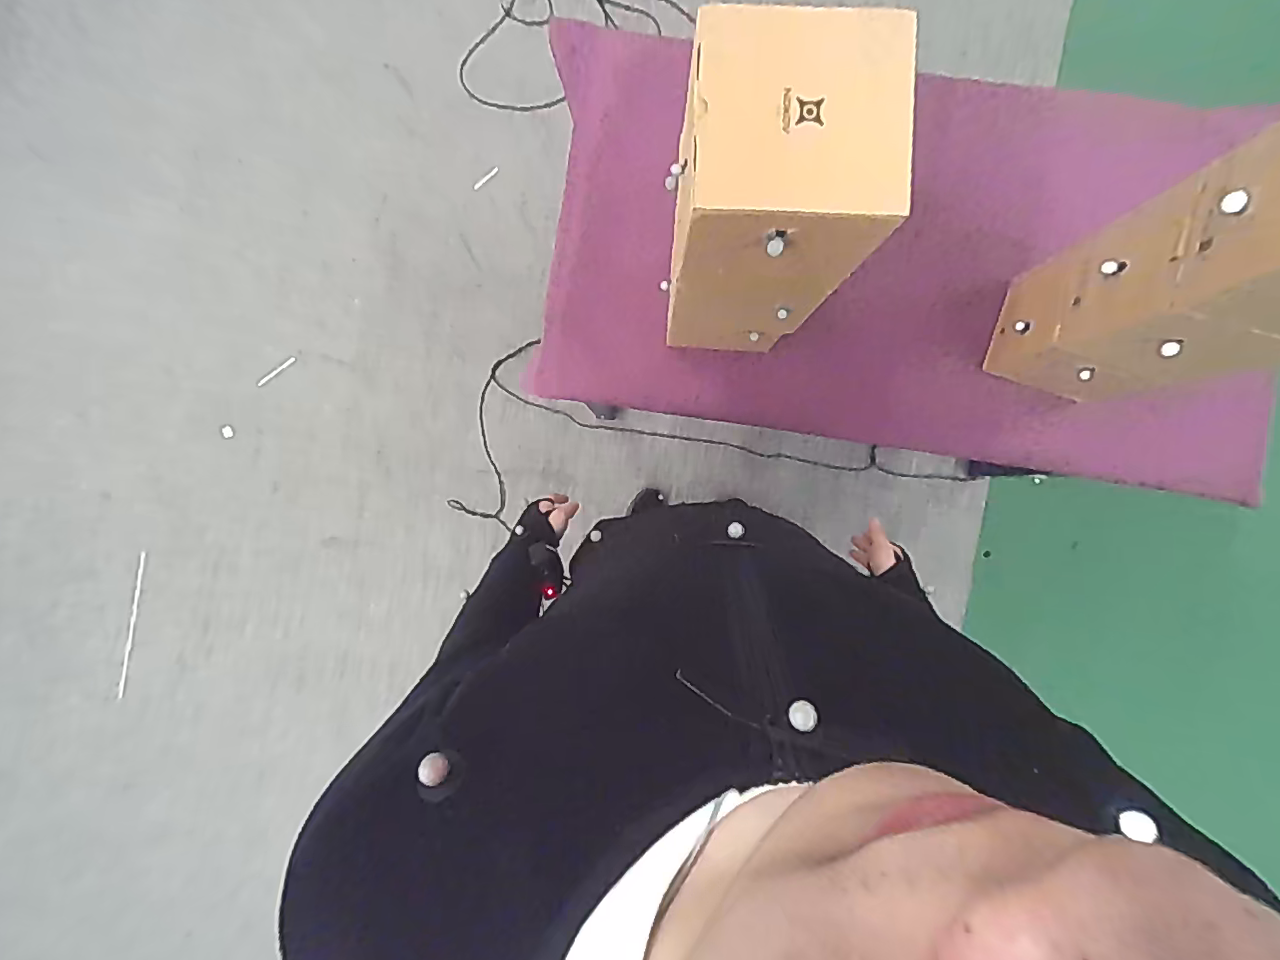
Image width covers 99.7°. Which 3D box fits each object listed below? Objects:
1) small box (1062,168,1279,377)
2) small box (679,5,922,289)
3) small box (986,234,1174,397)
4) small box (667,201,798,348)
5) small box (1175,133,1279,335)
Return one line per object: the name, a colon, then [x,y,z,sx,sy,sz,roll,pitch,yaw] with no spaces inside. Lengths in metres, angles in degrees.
small box: [0.674,-0.236,0.661,0.179,0.176,0.168,17,91,2]
small box: [0.133,-0.290,0.507,0.179,0.176,0.168,2,91,1]
small box: [0.677,-0.236,0.824,0.179,0.176,0.168,20,90,1]
small box: [0.137,-0.306,0.835,0.179,0.176,0.168,4,90,2]
small box: [0.672,-0.239,0.496,0.179,0.176,0.168,16,90,2]
